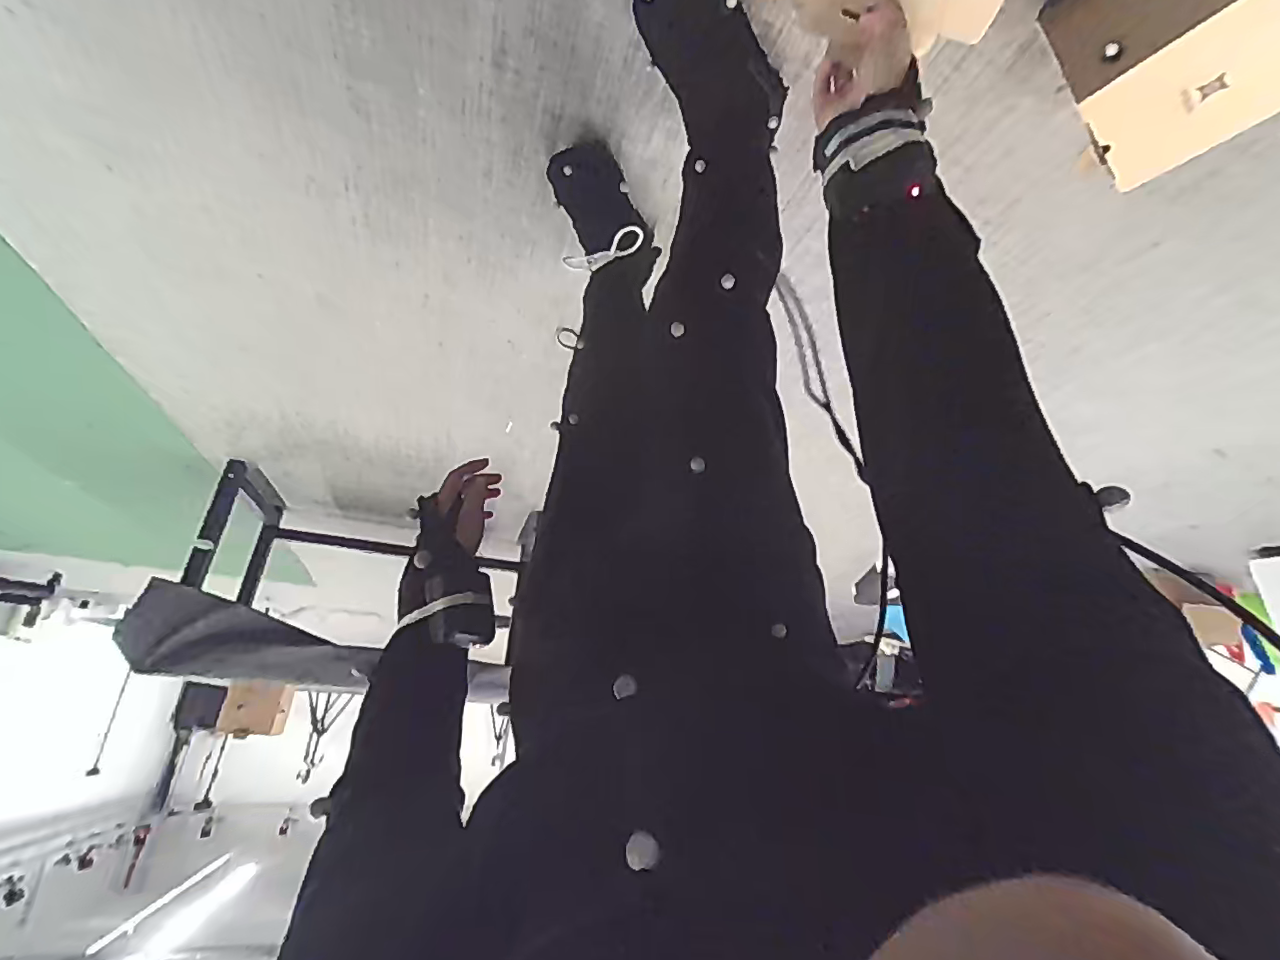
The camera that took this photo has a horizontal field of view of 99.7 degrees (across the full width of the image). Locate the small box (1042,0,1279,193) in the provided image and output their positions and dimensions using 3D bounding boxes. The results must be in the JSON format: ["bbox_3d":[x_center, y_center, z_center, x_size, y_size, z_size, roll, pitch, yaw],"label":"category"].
[{"bbox_3d":[0.573,-0.464,0.574,0.168,0.176,0.179,20,152,-33],"label":"small box"}]

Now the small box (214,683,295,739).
[{"bbox_3d":[-1.335,0.802,1.884,0.168,0.176,0.179,11,156,-14],"label":"small box"}]
